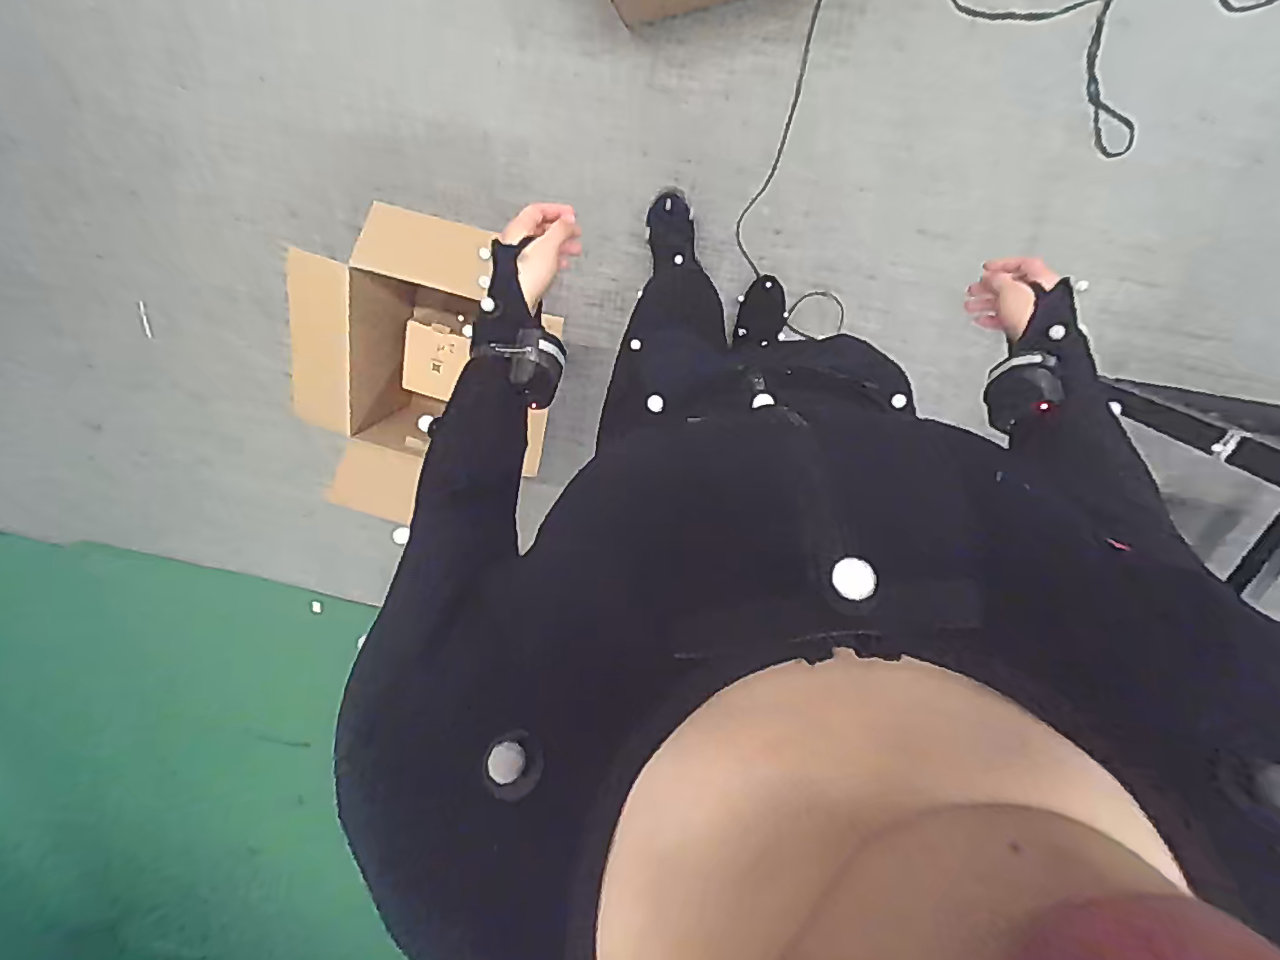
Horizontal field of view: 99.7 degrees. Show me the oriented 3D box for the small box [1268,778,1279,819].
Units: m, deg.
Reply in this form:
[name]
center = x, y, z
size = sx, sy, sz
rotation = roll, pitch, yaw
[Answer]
[small box]
center = 1.051, 0.478, 0.745
size = 0.168, 0.176, 0.179
rotation = -3, 115, 11
